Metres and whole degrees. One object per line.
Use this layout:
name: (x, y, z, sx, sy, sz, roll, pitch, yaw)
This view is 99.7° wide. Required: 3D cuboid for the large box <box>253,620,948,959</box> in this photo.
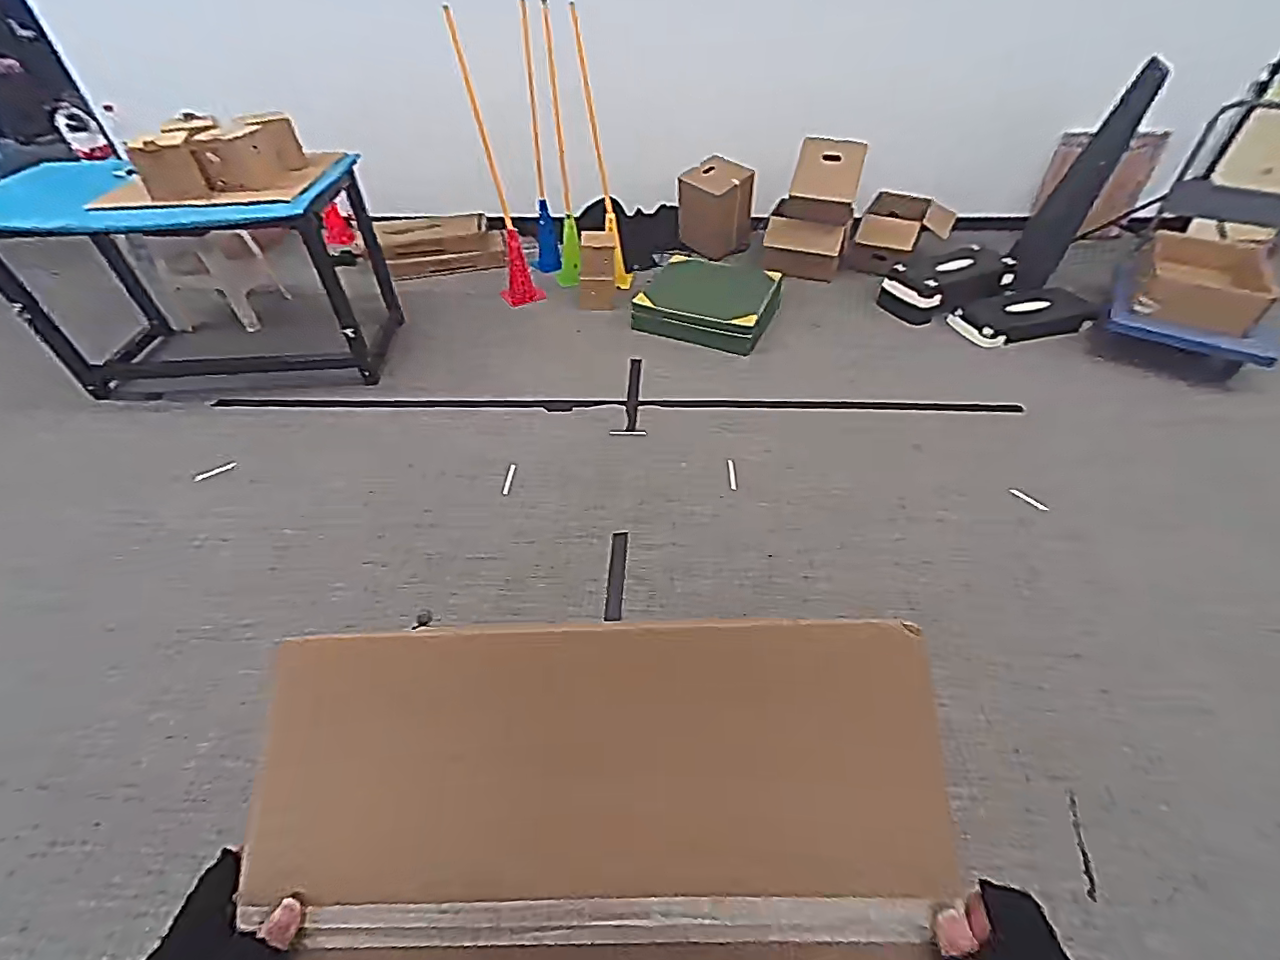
large box: (-0.021, 0.287, 0.457, 0.408, 0.320, 0.320, -3, 76, 3)
